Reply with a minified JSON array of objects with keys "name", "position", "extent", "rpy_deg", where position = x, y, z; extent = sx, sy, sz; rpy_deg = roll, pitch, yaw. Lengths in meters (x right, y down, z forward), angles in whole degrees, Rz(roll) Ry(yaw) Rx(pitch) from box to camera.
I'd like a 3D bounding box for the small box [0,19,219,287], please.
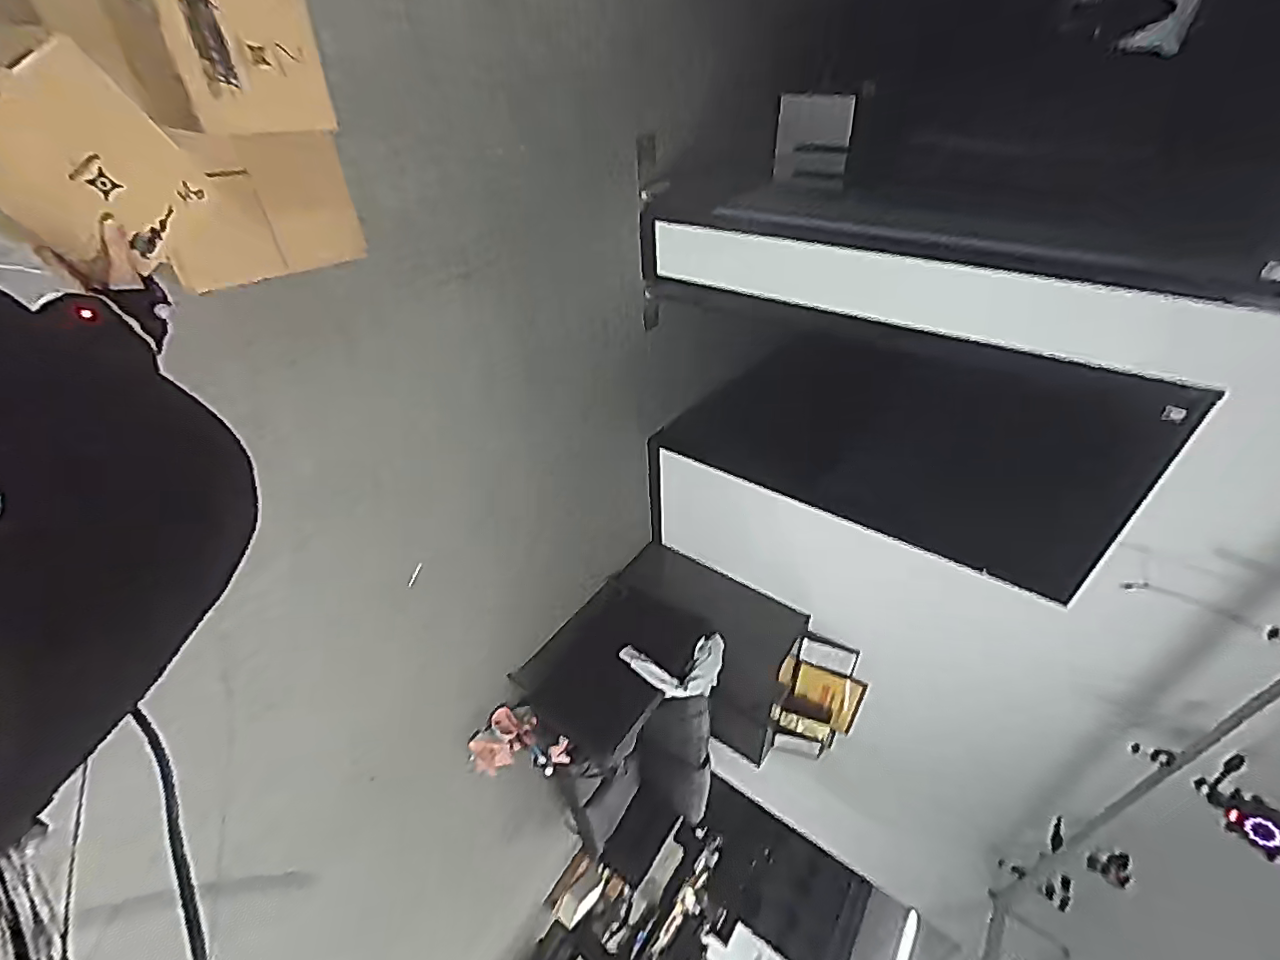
[{"name":"small box","position":[-0.619,-0.336,0.568],"extent":[0.168,0.176,0.179],"rpy_deg":[-62,156,-17]}]
